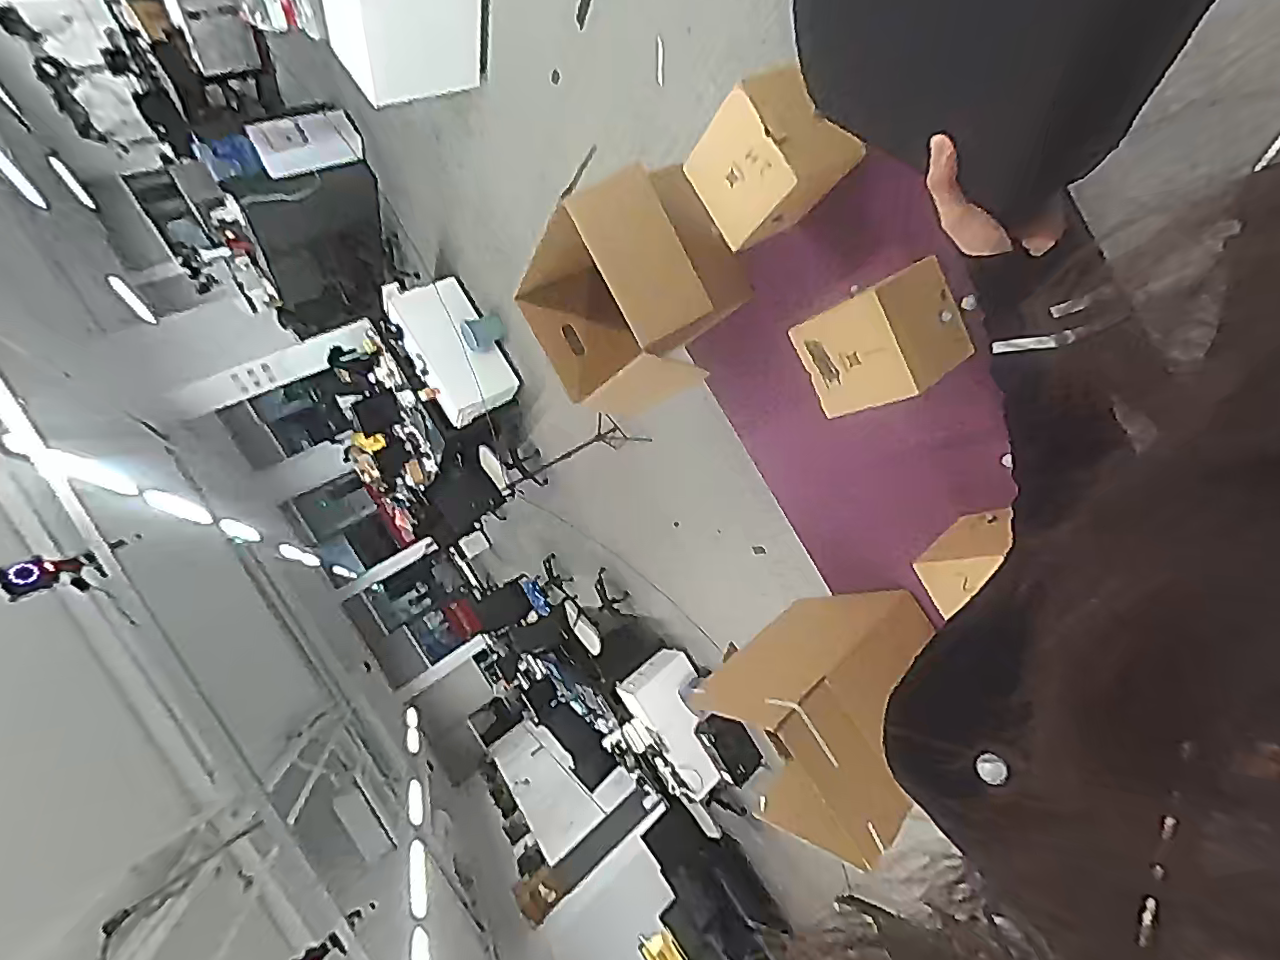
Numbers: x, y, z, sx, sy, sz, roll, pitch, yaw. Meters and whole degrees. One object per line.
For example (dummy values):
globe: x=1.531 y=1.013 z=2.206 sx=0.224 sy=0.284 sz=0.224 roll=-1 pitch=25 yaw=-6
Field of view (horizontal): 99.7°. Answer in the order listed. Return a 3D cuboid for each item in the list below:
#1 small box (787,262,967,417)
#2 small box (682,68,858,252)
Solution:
small box: x=0.380 y=-0.222 z=0.873 sx=0.168 sy=0.176 sz=0.179 roll=62 pitch=153 yaw=-9
small box: x=0.205 y=-0.504 z=0.862 sx=0.168 sy=0.176 sz=0.179 roll=58 pitch=155 yaw=-3
